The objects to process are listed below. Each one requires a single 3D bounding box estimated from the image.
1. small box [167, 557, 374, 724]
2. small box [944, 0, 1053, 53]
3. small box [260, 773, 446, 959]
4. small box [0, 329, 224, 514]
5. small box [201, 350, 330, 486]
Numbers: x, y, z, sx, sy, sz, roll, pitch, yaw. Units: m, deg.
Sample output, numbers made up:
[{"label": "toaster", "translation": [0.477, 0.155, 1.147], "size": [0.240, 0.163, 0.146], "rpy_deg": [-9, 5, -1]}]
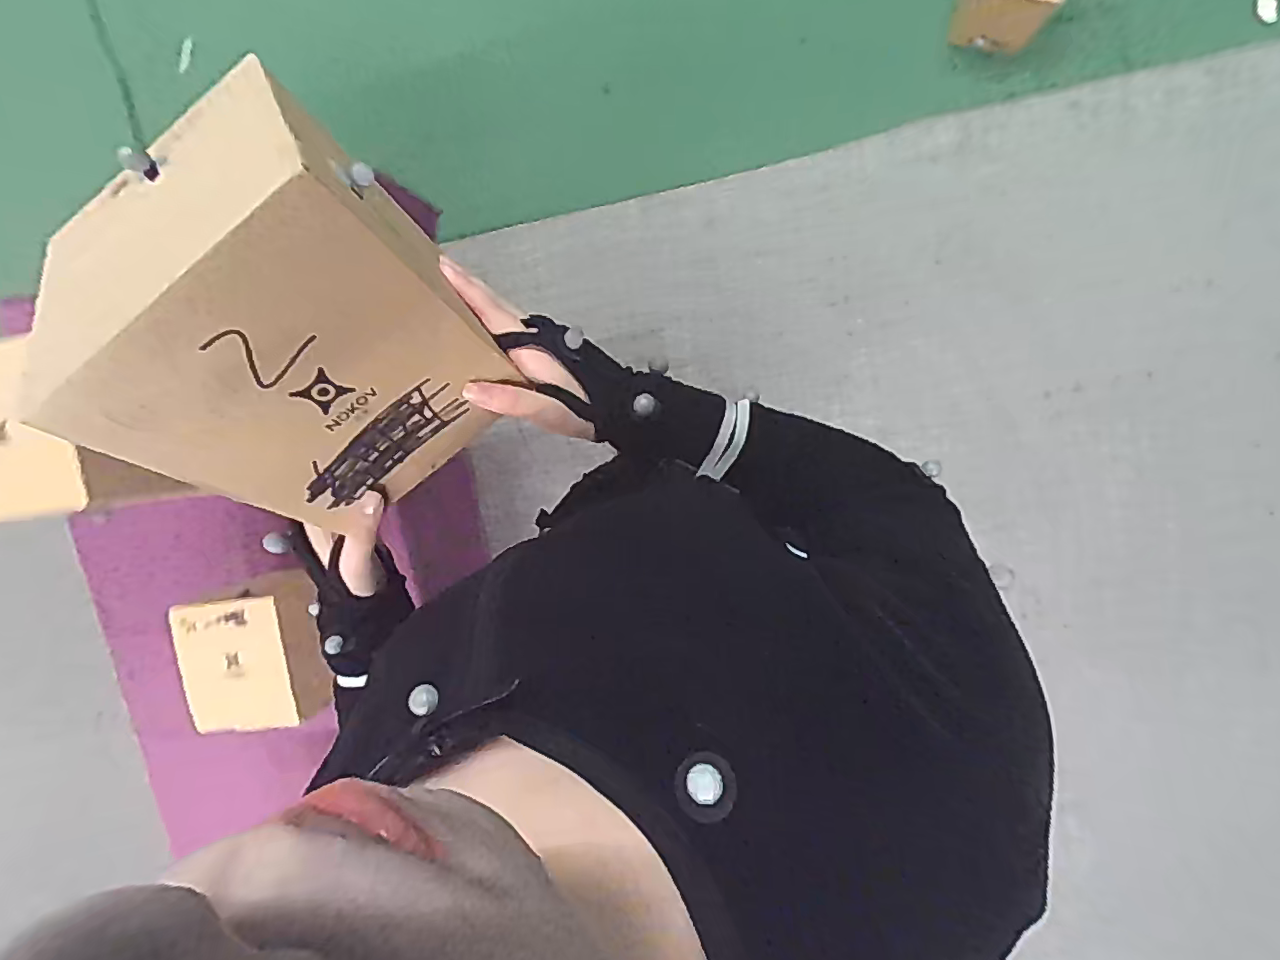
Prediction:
[{"label": "small box", "translation": [-0.518, 0.225, 0.785], "size": [0.168, 0.176, 0.179], "rpy_deg": [-8, 96, 10]}, {"label": "small box", "translation": [0.791, -1.082, 1.168], "size": [0.168, 0.176, 0.179], "rpy_deg": [15, 99, 7]}, {"label": "small box", "translation": [-0.415, 0.575, 0.811], "size": [0.168, 0.176, 0.179], "rpy_deg": [-8, 95, 10]}, {"label": "small box", "translation": [-0.605, -0.060, 0.597], "size": [0.179, 0.176, 0.168], "rpy_deg": [-8, 95, 9]}, {"label": "small box", "translation": [-0.581, -0.079, 0.759], "size": [0.179, 0.176, 0.168], "rpy_deg": [-7, 96, 9]}]
